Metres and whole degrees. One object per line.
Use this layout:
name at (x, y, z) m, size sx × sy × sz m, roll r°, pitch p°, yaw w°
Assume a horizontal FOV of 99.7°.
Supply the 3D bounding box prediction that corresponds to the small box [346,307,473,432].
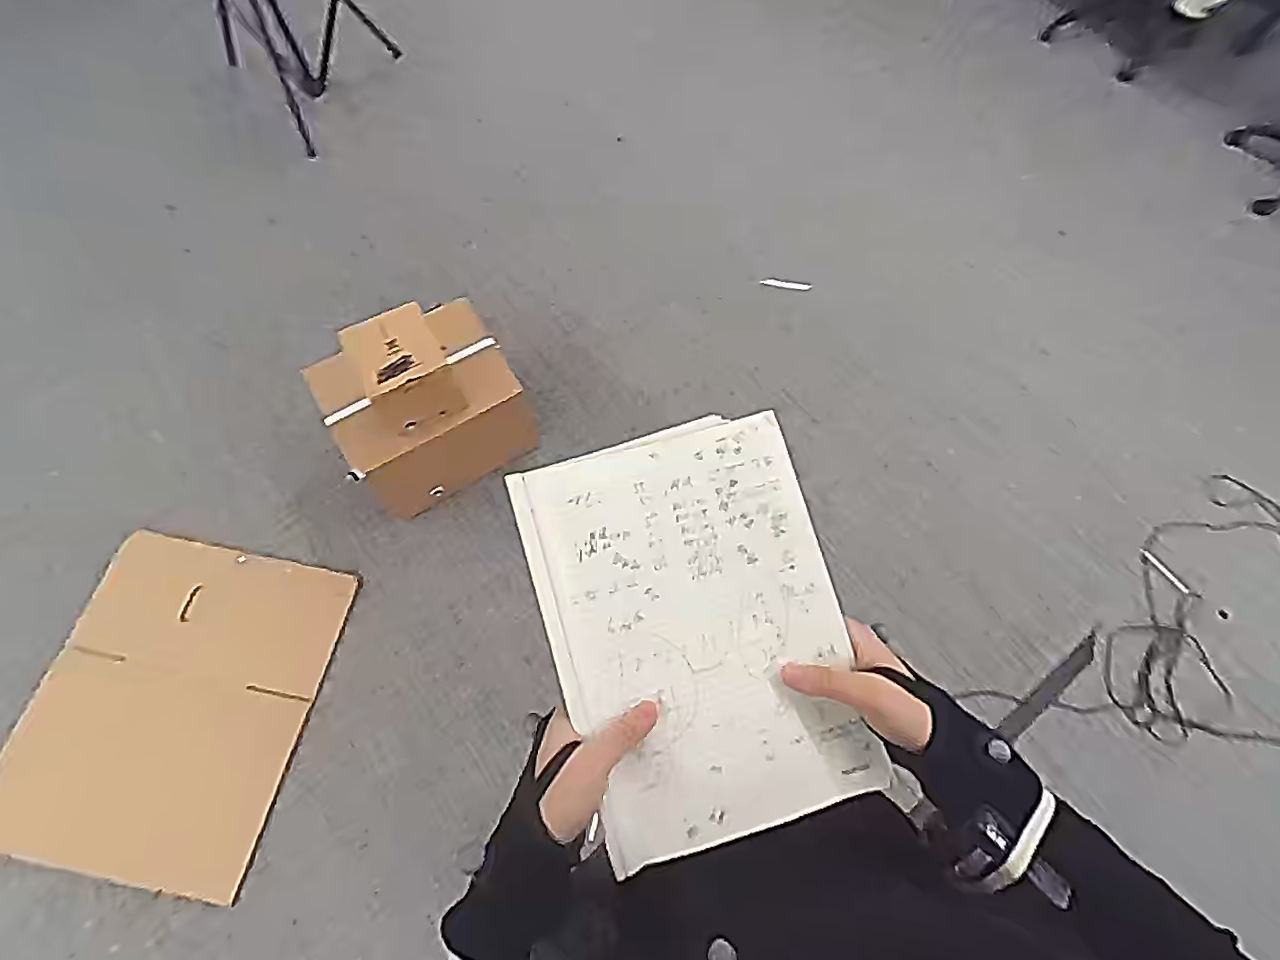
small box at (-0.476, -0.221, 1.140) m, size 0.168 × 0.176 × 0.179 m, roll -28°, pitch 73°, yaw -12°
